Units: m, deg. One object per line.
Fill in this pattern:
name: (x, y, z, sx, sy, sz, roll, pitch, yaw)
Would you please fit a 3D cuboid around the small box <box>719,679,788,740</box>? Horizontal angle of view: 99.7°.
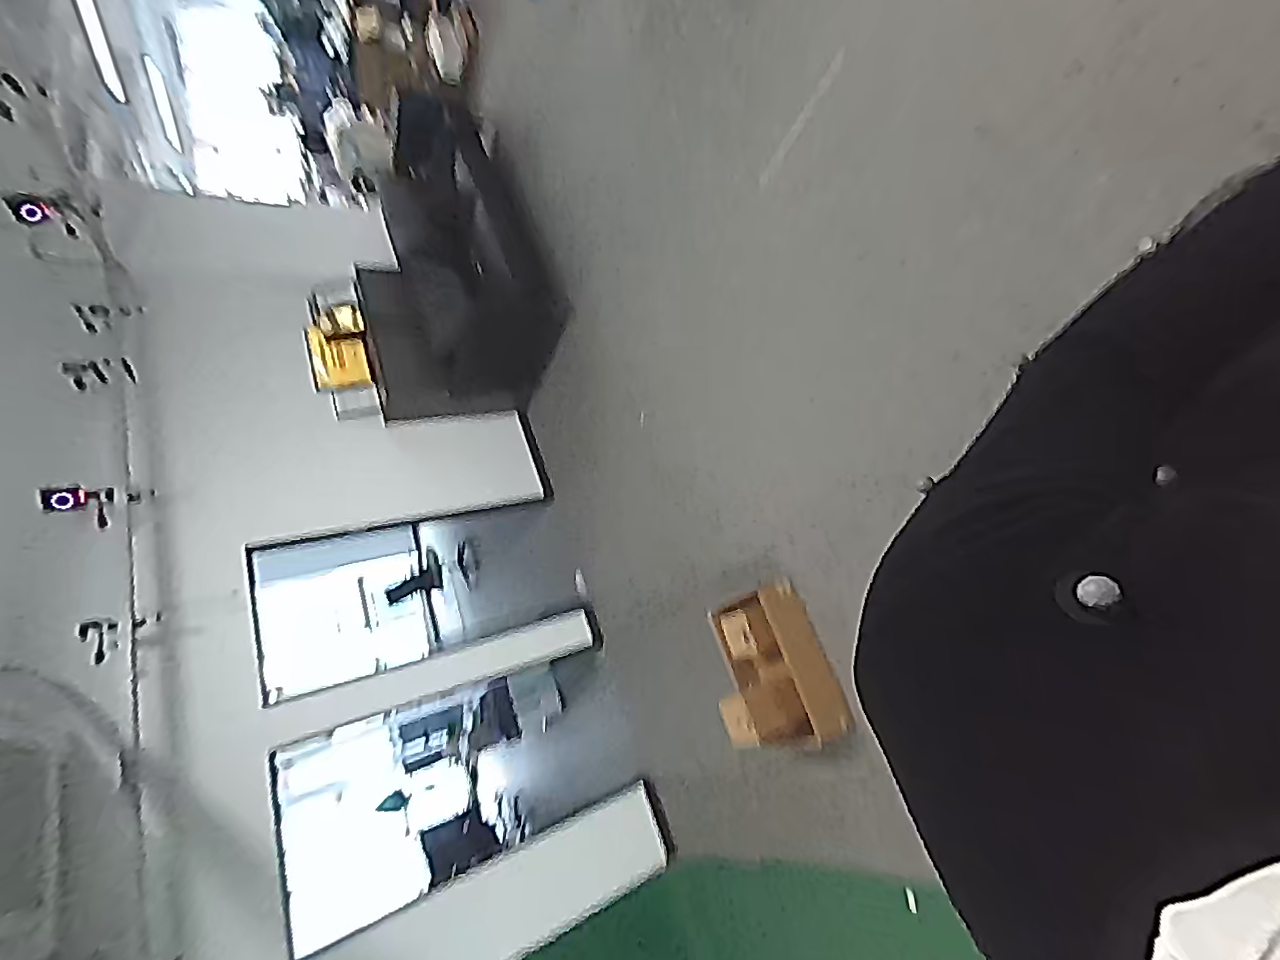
small box: (0.449, 0.908, 2.139, 0.179, 0.176, 0.168, -50, 57, 52)
